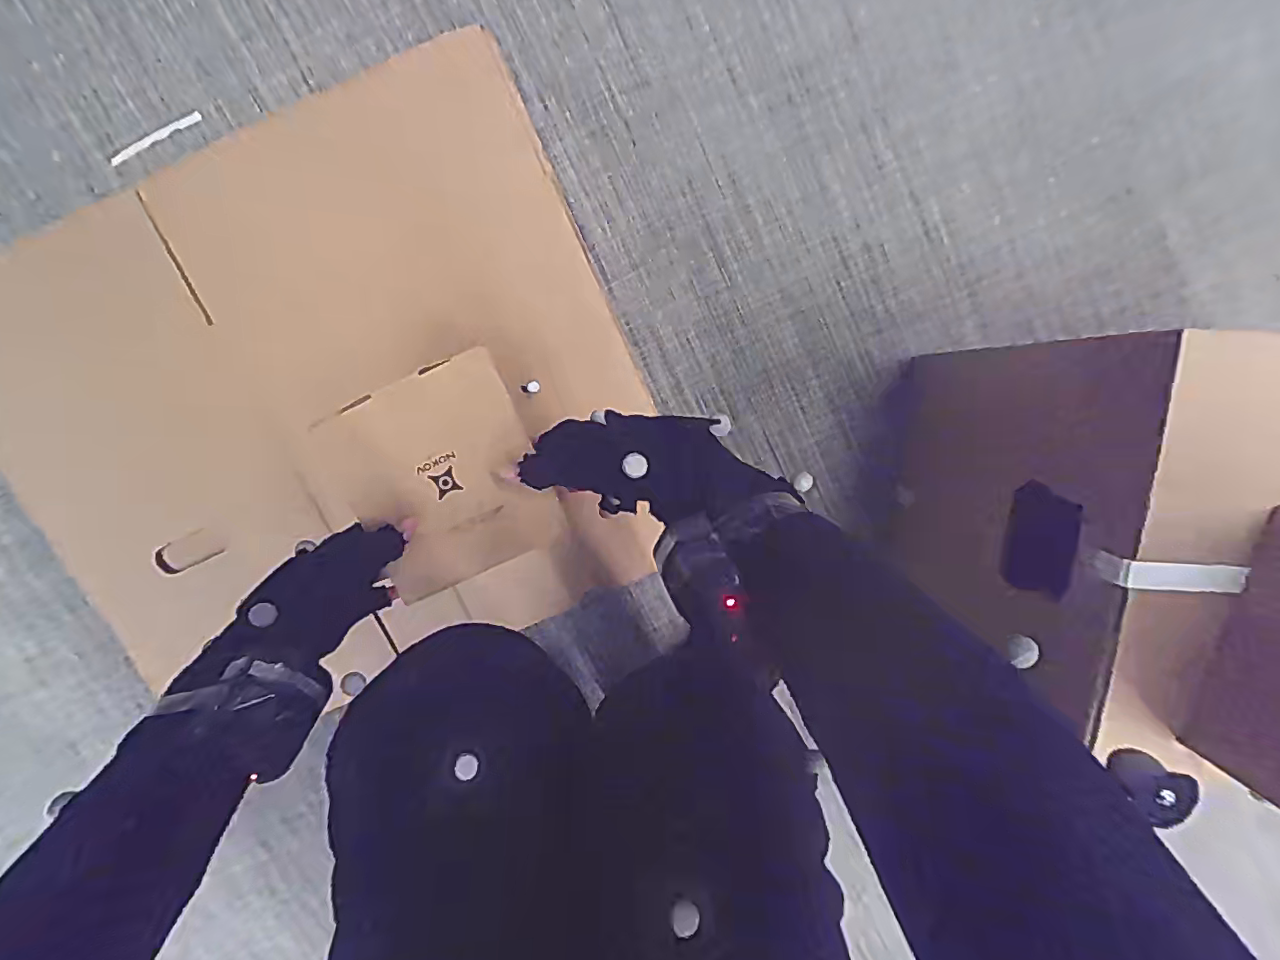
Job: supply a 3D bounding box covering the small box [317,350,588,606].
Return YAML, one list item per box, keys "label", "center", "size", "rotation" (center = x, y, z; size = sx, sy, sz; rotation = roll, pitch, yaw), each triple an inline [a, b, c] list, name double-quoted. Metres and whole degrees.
- label: "small box"
  center: [-0.165, -0.009, 0.540]
  size: [0.168, 0.176, 0.179]
  rotation: [-26, 98, 4]

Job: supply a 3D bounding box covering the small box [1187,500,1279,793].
- label: "small box"
  center: [0.464, 0.121, 0.287]
  size: [0.168, 0.176, 0.179]
  rotation: [10, 99, -3]
